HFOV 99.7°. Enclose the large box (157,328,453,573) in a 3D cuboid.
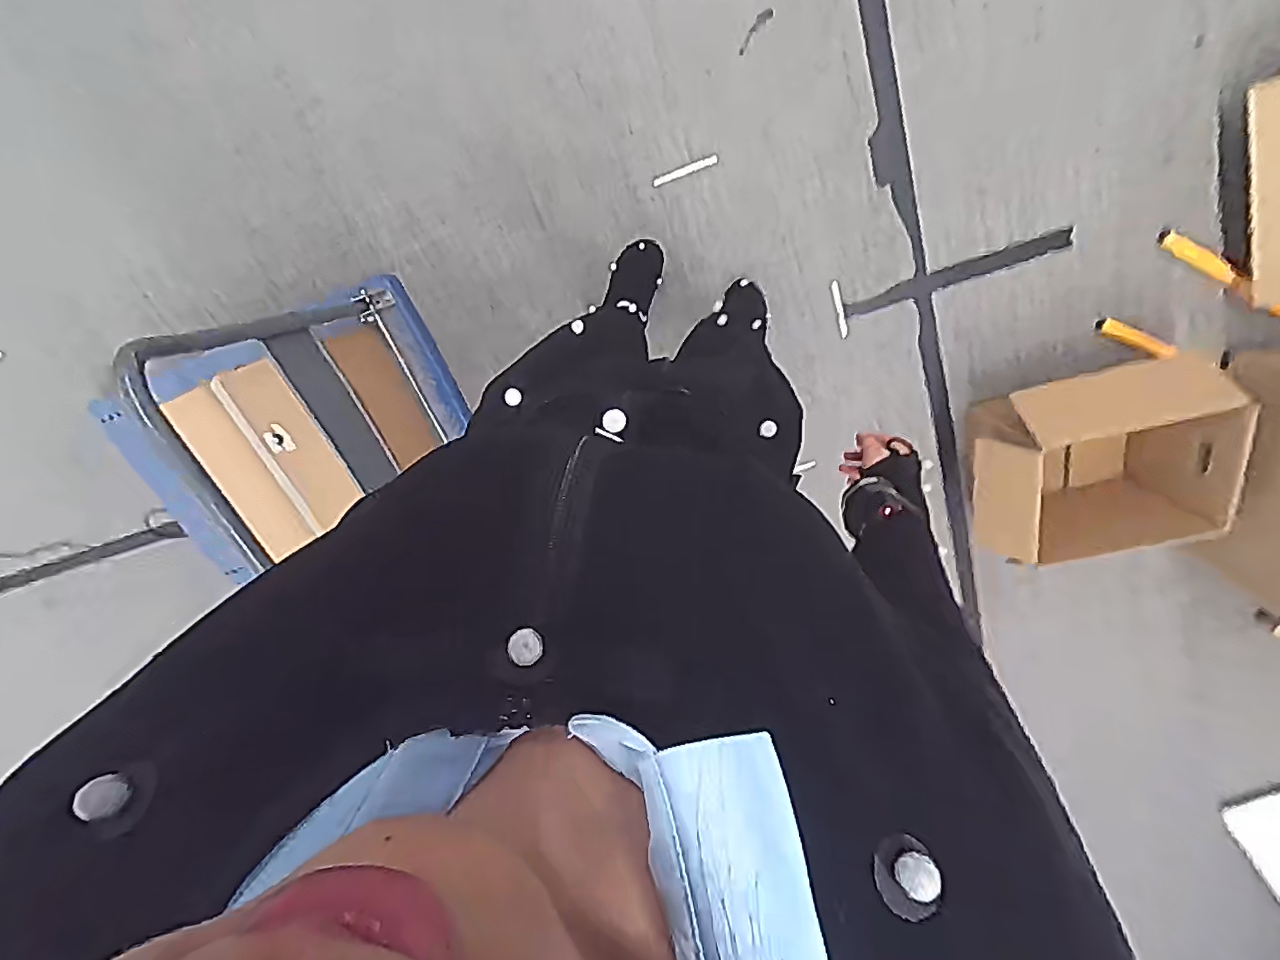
[{"bbox_3d":[-0.685,-0.074,1.187,0.320,0.320,0.408,-18,111,9],"label":"large box"}]
